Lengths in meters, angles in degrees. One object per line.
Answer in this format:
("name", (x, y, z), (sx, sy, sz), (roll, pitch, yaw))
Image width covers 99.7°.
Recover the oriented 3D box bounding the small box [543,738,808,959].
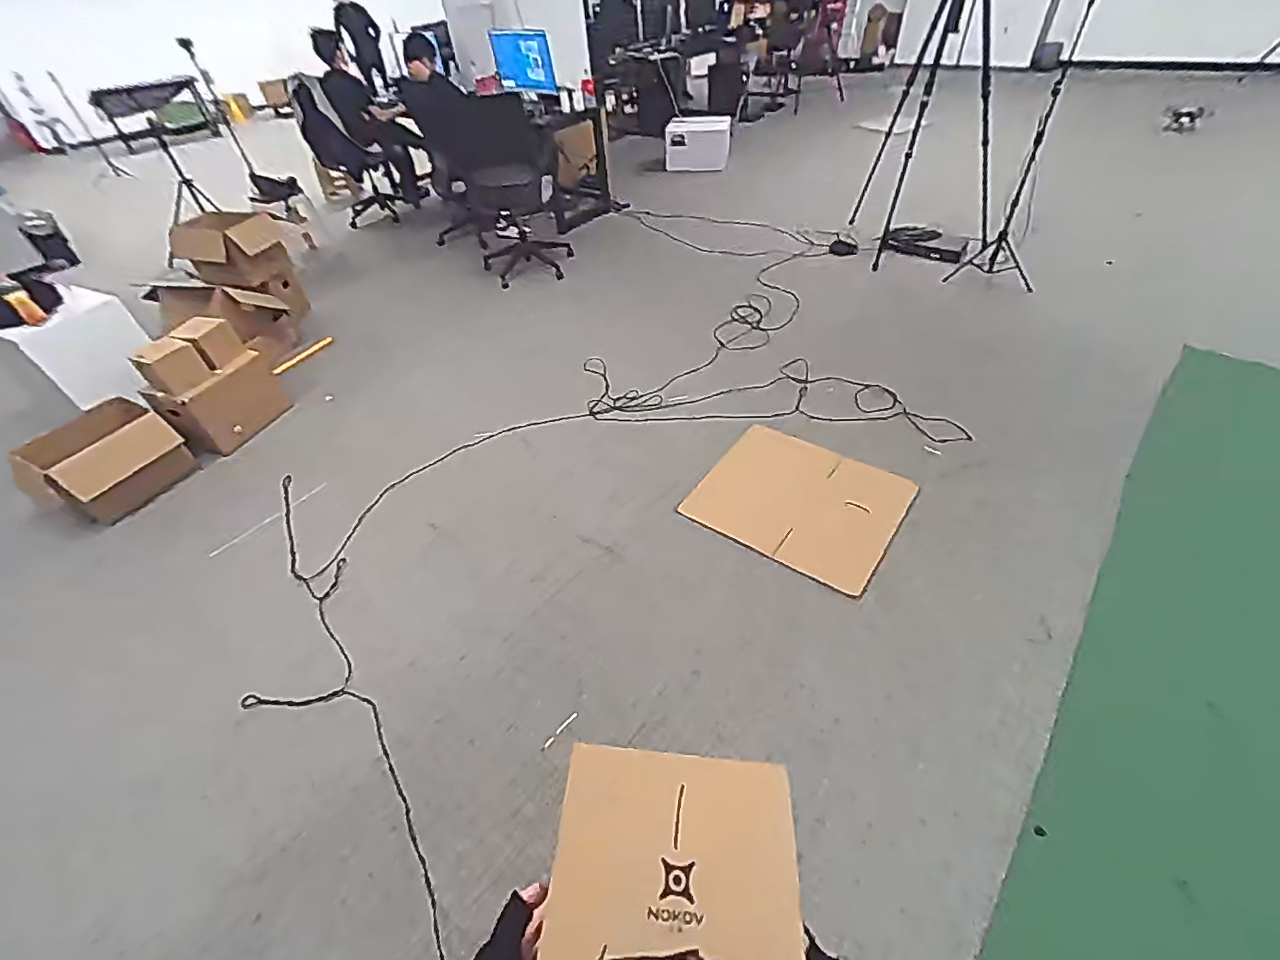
("small box", (0.023, 0.324, 0.413), (0.168, 0.176, 0.179), (6, 46, 2))
